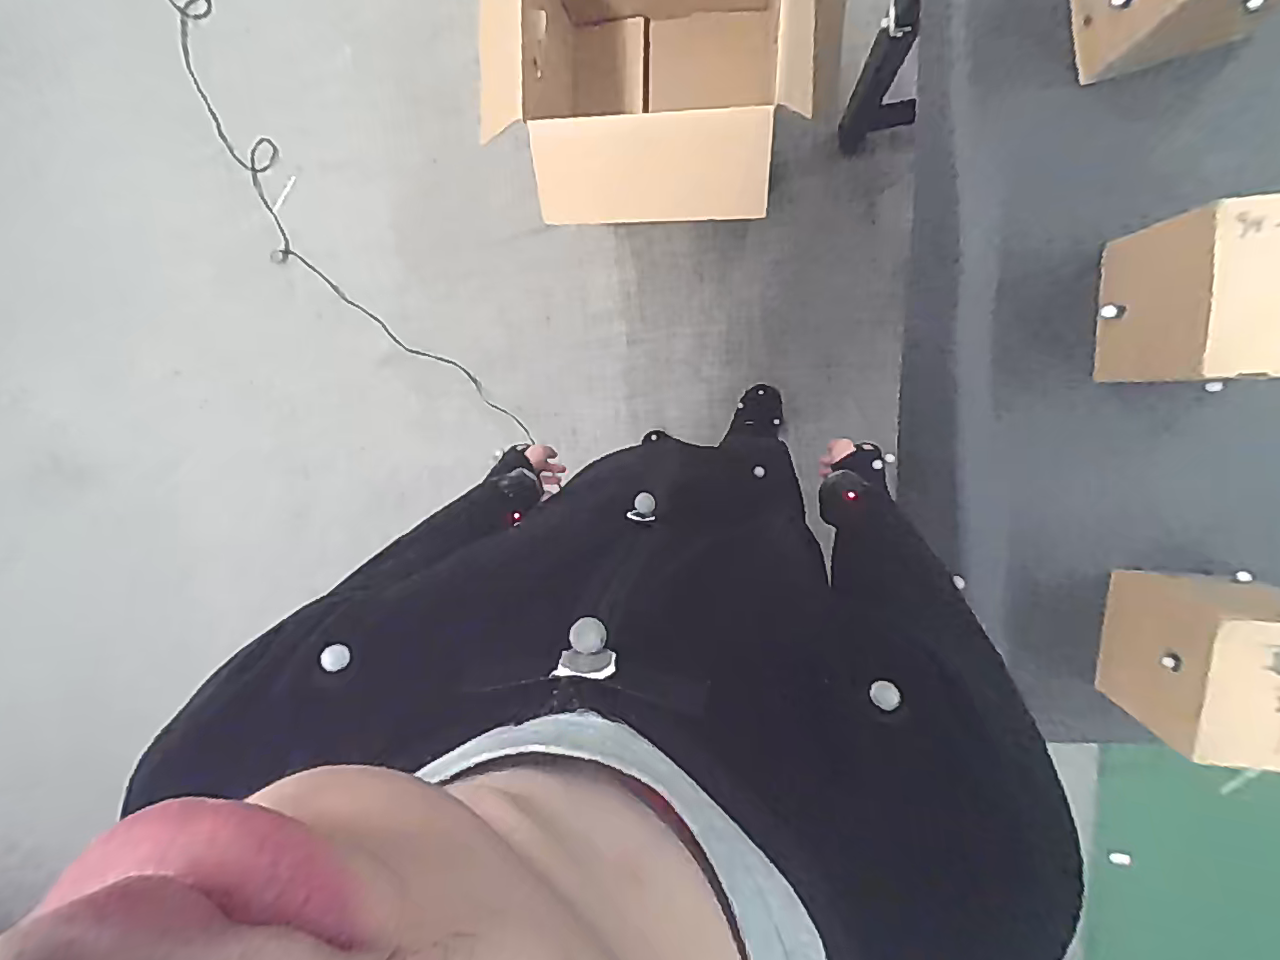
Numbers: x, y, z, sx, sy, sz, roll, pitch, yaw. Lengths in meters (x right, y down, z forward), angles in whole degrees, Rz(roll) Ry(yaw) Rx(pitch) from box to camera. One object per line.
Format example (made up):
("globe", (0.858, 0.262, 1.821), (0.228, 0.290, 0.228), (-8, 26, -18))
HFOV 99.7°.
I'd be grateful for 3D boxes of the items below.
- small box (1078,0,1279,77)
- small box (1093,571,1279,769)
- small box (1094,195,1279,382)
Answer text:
("small box", (0.591, -0.564, 0.558), (0.179, 0.176, 0.168), (-12, 99, 8))
("small box", (0.707, 0.221, 0.663), (0.168, 0.176, 0.179), (3, 100, 9))
("small box", (0.655, -0.203, 0.605), (0.168, 0.176, 0.179), (-1, 100, 9))
